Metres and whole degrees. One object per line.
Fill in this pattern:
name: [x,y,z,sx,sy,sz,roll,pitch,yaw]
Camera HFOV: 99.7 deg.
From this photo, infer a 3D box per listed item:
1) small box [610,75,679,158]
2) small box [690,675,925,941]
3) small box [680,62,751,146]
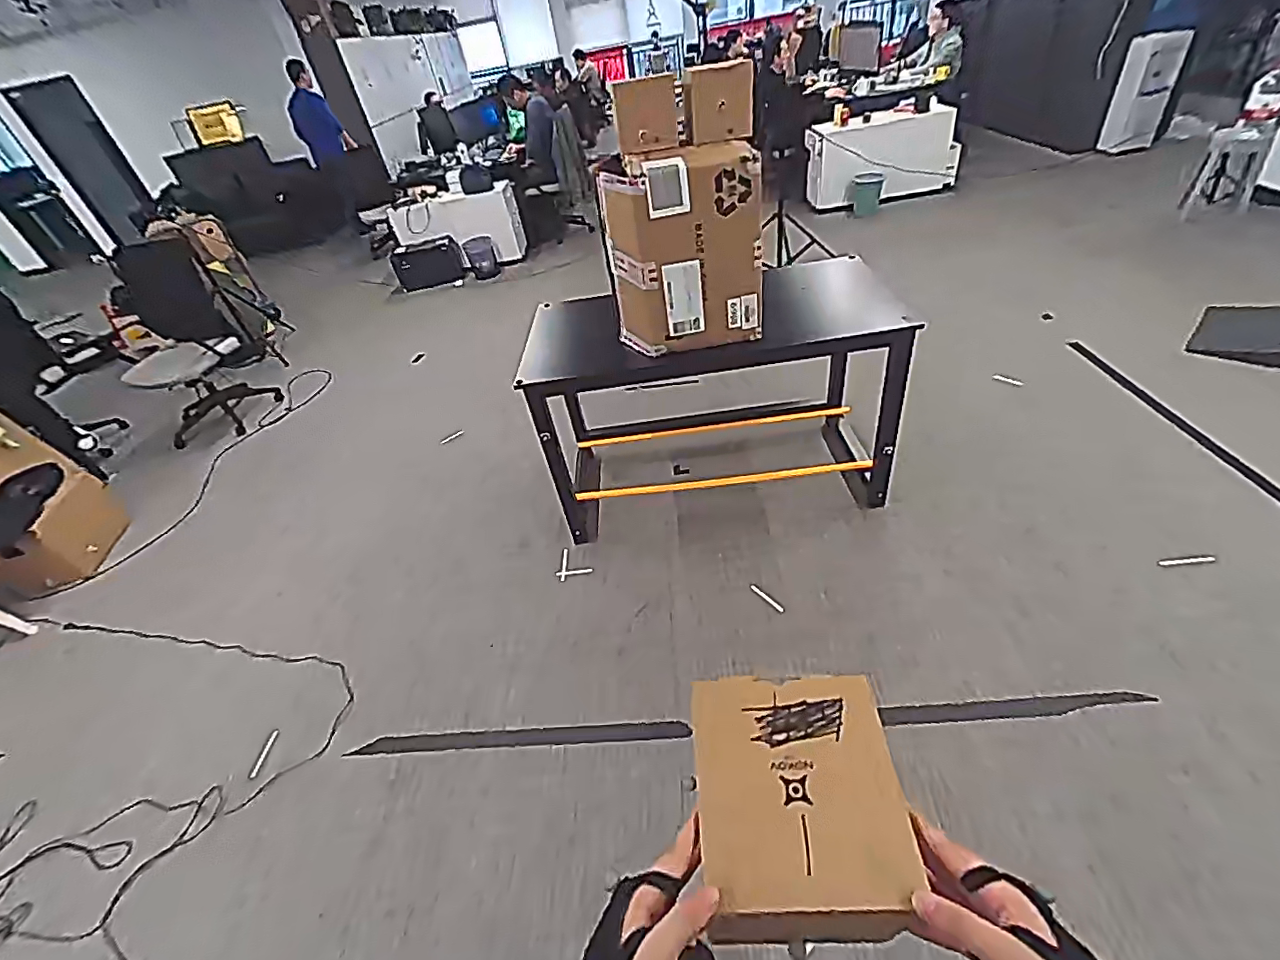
small box: [0.012,-1.016,1.513,0.168,0.176,0.179,-10,38,0]
small box: [0.133,0.307,0.509,0.168,0.176,0.179,-4,43,4]
small box: [0.209,-1.043,1.502,0.168,0.176,0.179,-8,39,0]
